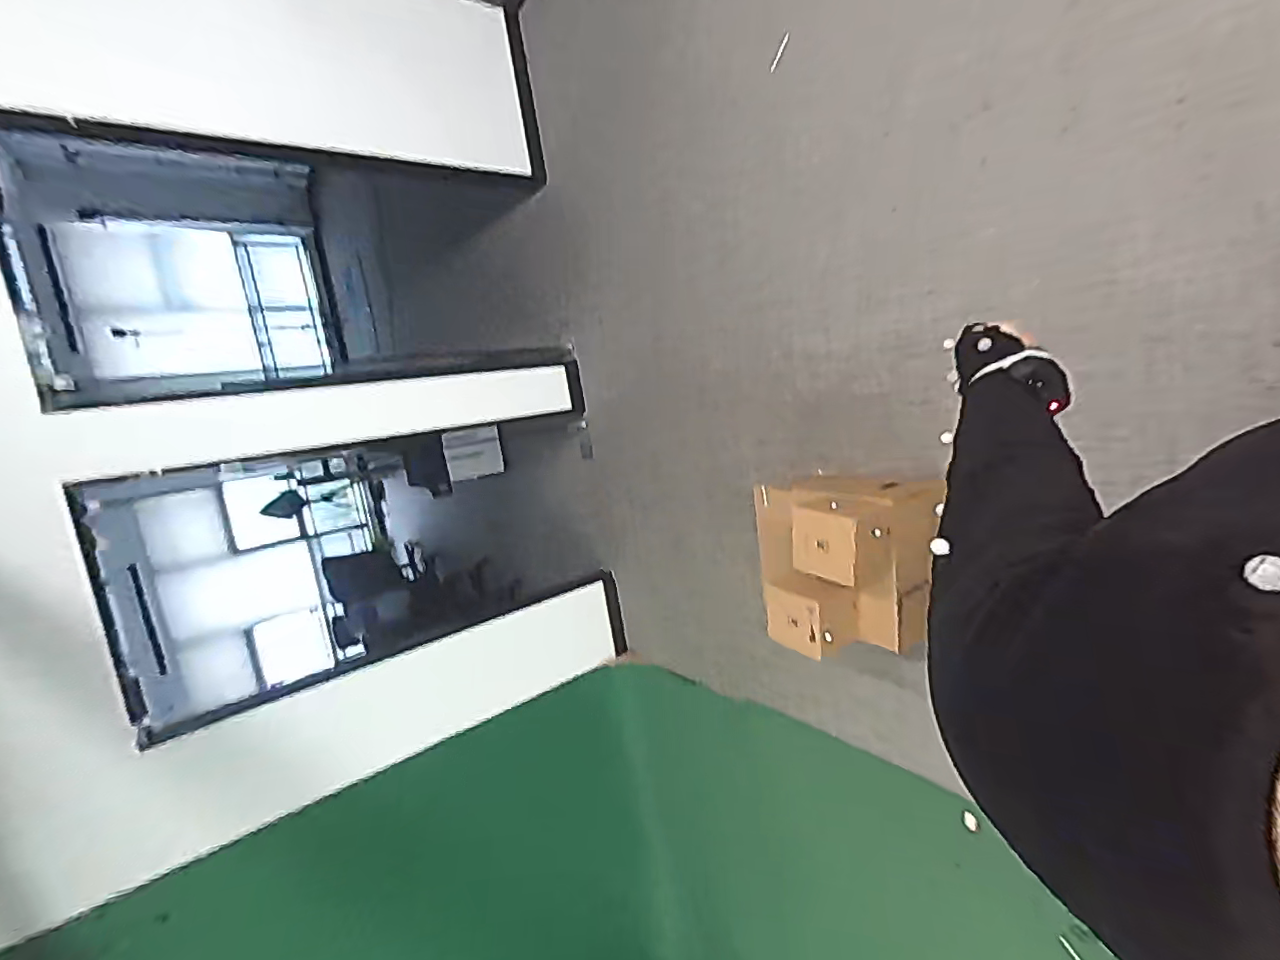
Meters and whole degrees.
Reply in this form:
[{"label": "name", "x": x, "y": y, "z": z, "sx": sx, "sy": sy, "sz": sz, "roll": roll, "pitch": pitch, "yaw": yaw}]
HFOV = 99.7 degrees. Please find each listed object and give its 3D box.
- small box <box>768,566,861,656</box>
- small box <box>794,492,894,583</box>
[{"label": "small box", "x": 0.471, "y": 0.343, "z": 1.466, "sx": 0.179, "sy": 0.176, "sz": 0.168, "roll": 13, "pitch": 114, "yaw": 55}, {"label": "small box", "x": 0.505, "y": 0.132, "z": 1.339, "sx": 0.179, "sy": 0.176, "sz": 0.168, "roll": 14, "pitch": 112, "yaw": 54}]
